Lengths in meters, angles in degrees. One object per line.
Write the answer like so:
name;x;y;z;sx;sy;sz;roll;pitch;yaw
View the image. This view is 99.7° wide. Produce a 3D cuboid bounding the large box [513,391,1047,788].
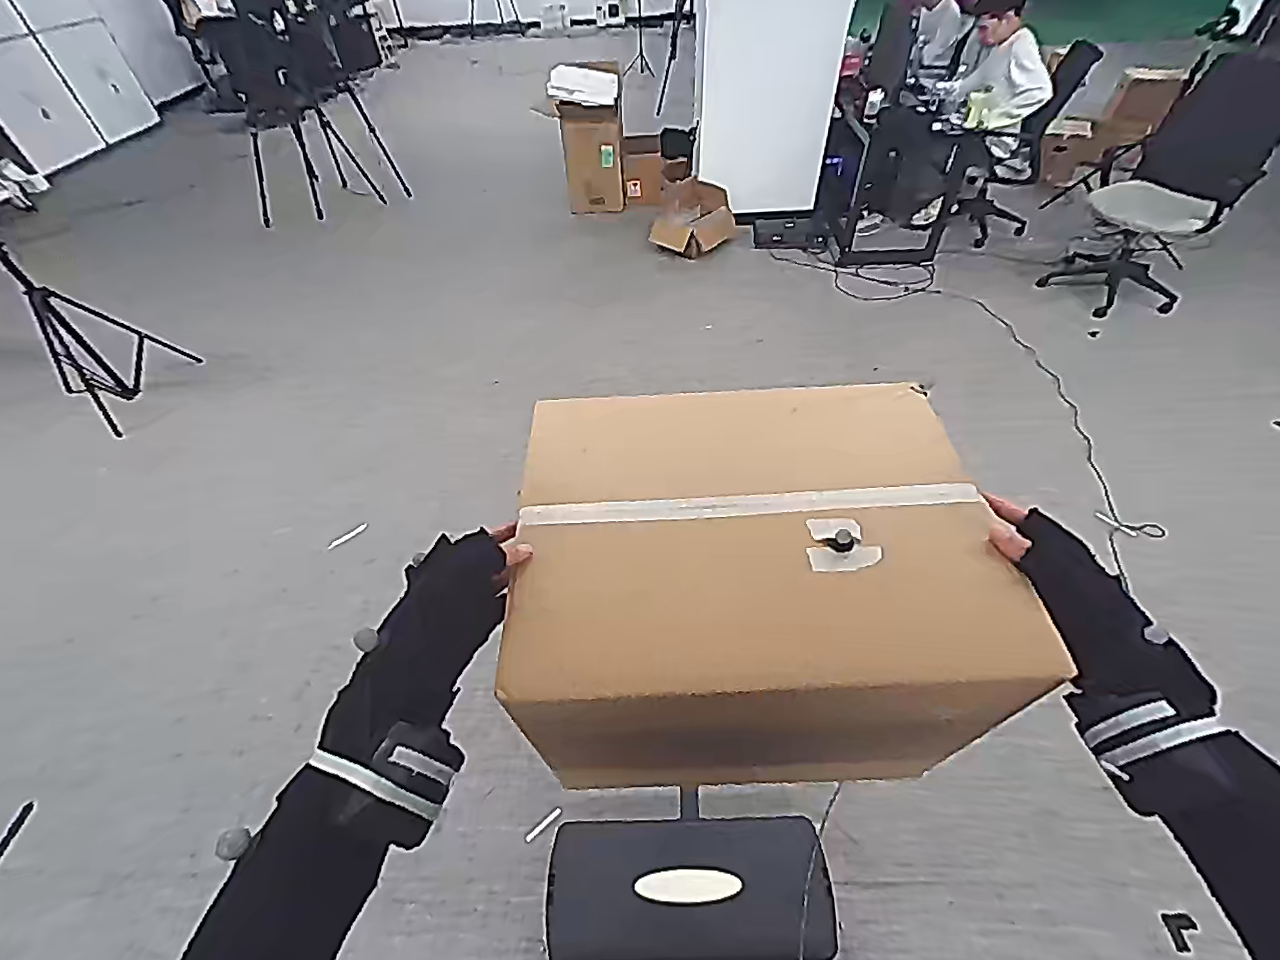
large box;0.100;0.127;0.602;0.408;0.320;0.320;-3;50;0
